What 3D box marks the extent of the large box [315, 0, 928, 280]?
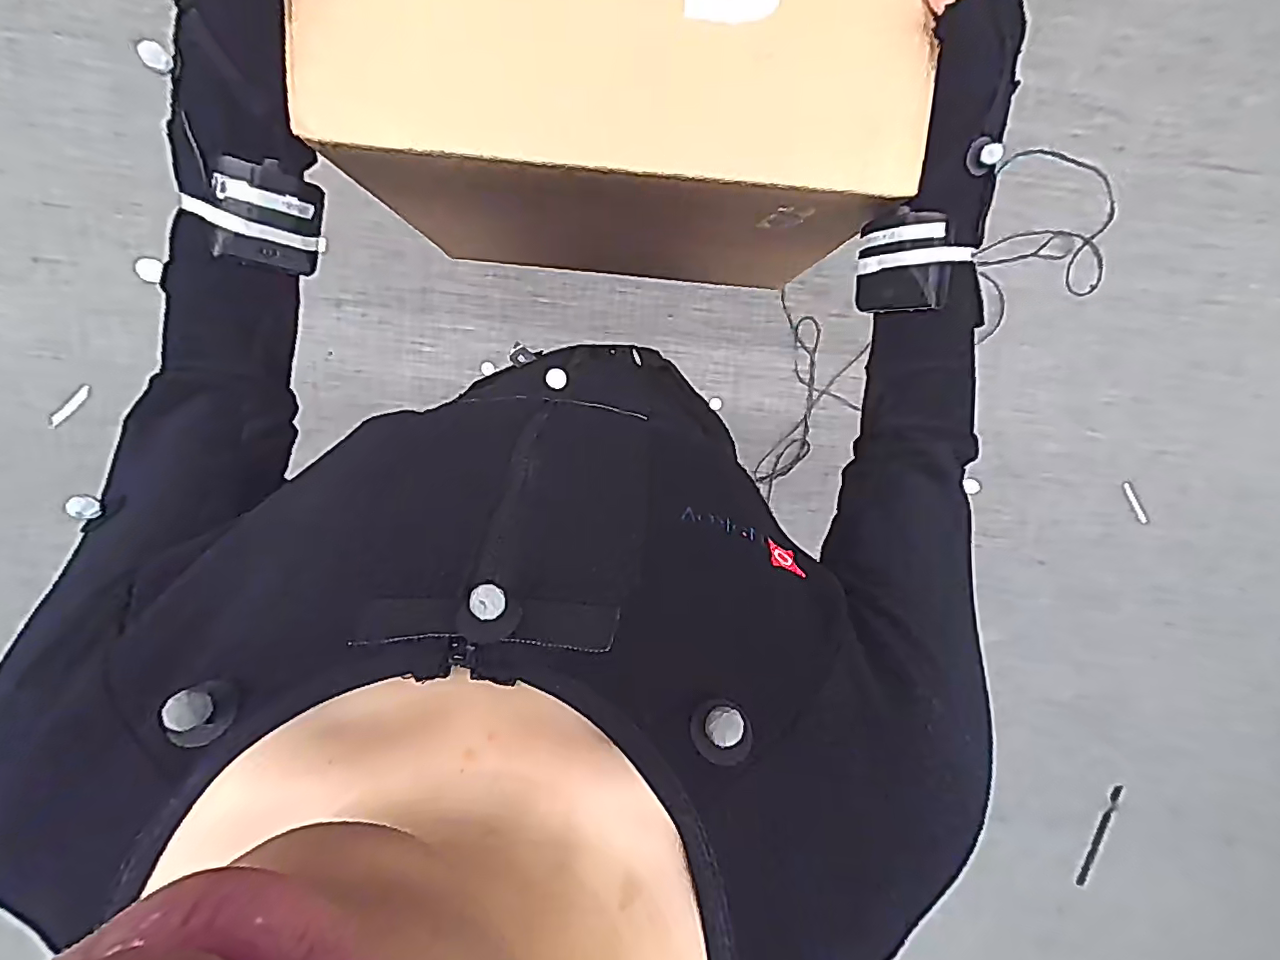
[{"bbox_3d":[-0.011,-0.385,0.490,0.408,0.320,0.320,4,99,-3],"label":"large box"}]
